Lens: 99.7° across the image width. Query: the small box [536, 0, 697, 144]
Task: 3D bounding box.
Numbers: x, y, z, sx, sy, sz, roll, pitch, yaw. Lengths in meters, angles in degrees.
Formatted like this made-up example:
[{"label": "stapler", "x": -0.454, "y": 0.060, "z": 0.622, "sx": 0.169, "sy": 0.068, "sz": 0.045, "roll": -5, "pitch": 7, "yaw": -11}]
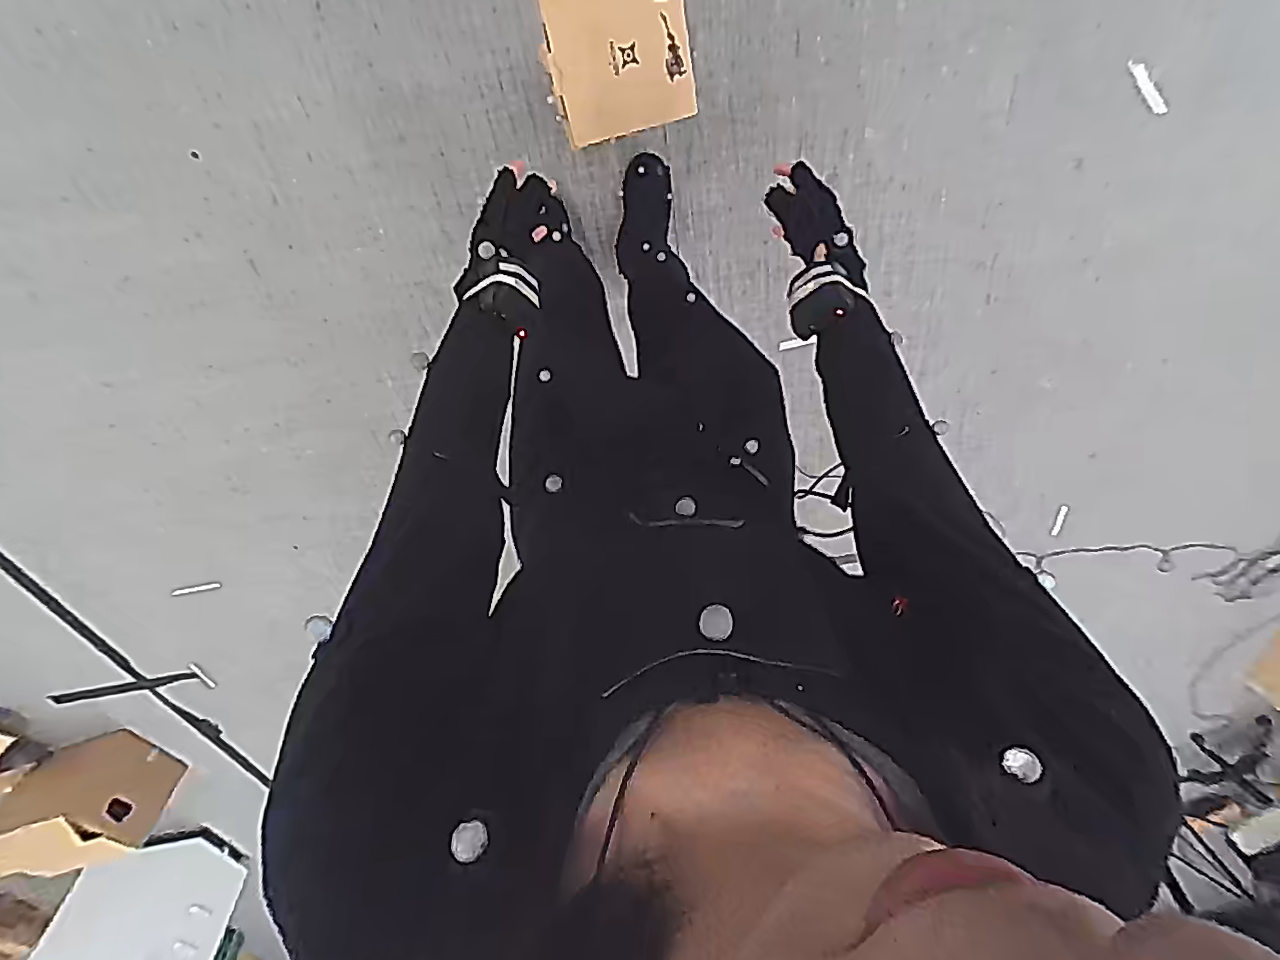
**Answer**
[{"label": "small box", "x": -0.031, "y": -0.573, "z": 0.737, "sx": 0.179, "sy": 0.176, "sz": 0.168, "roll": -14, "pitch": 126, "yaw": 1}]
